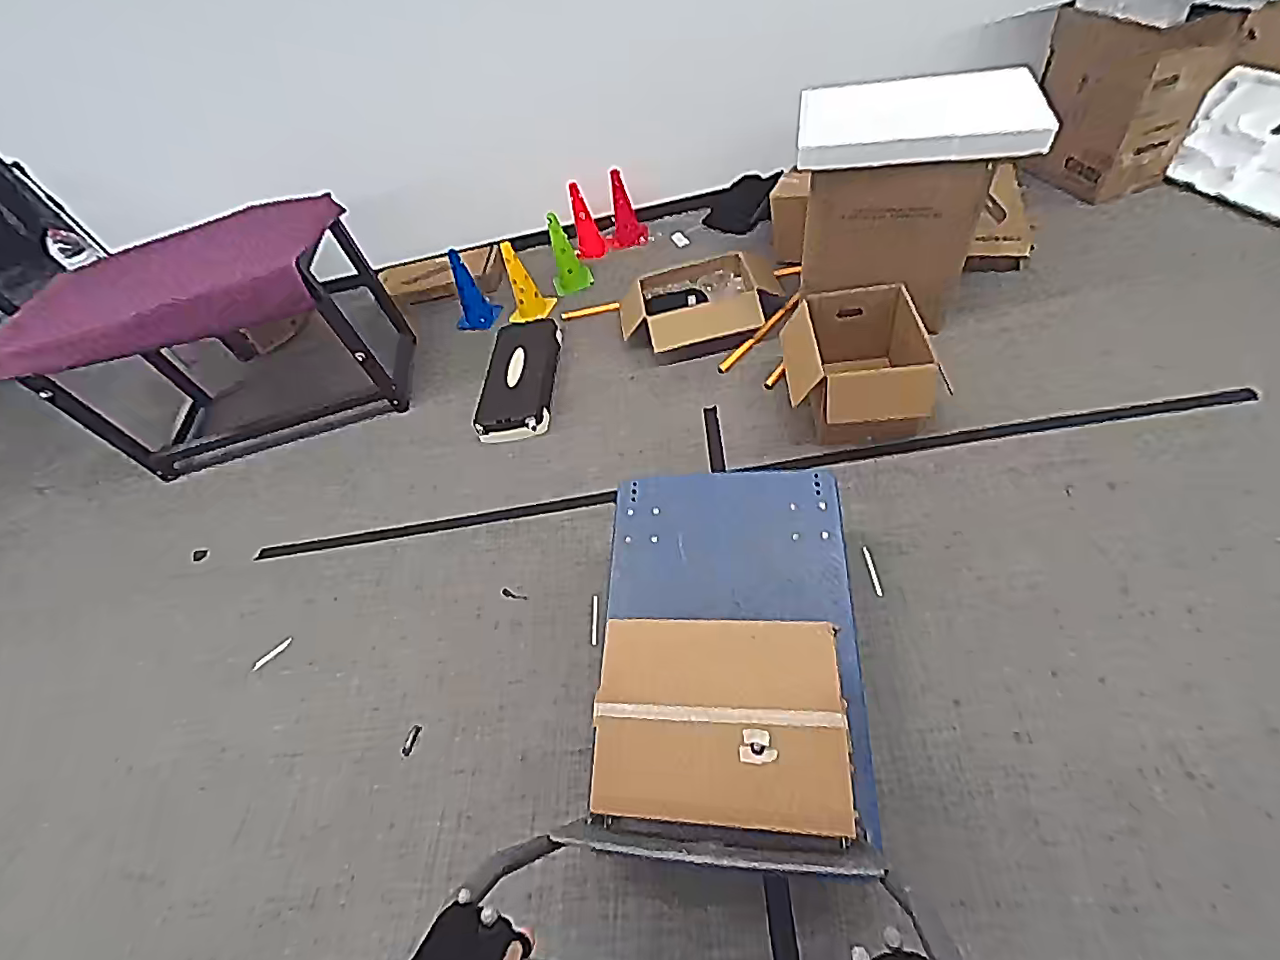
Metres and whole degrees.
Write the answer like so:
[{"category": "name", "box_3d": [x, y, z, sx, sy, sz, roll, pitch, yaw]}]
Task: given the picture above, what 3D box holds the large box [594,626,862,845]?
[{"category": "large box", "box_3d": [0.155, 0.463, 0.996, 0.408, 0.320, 0.320, -3, 62, 11]}]
